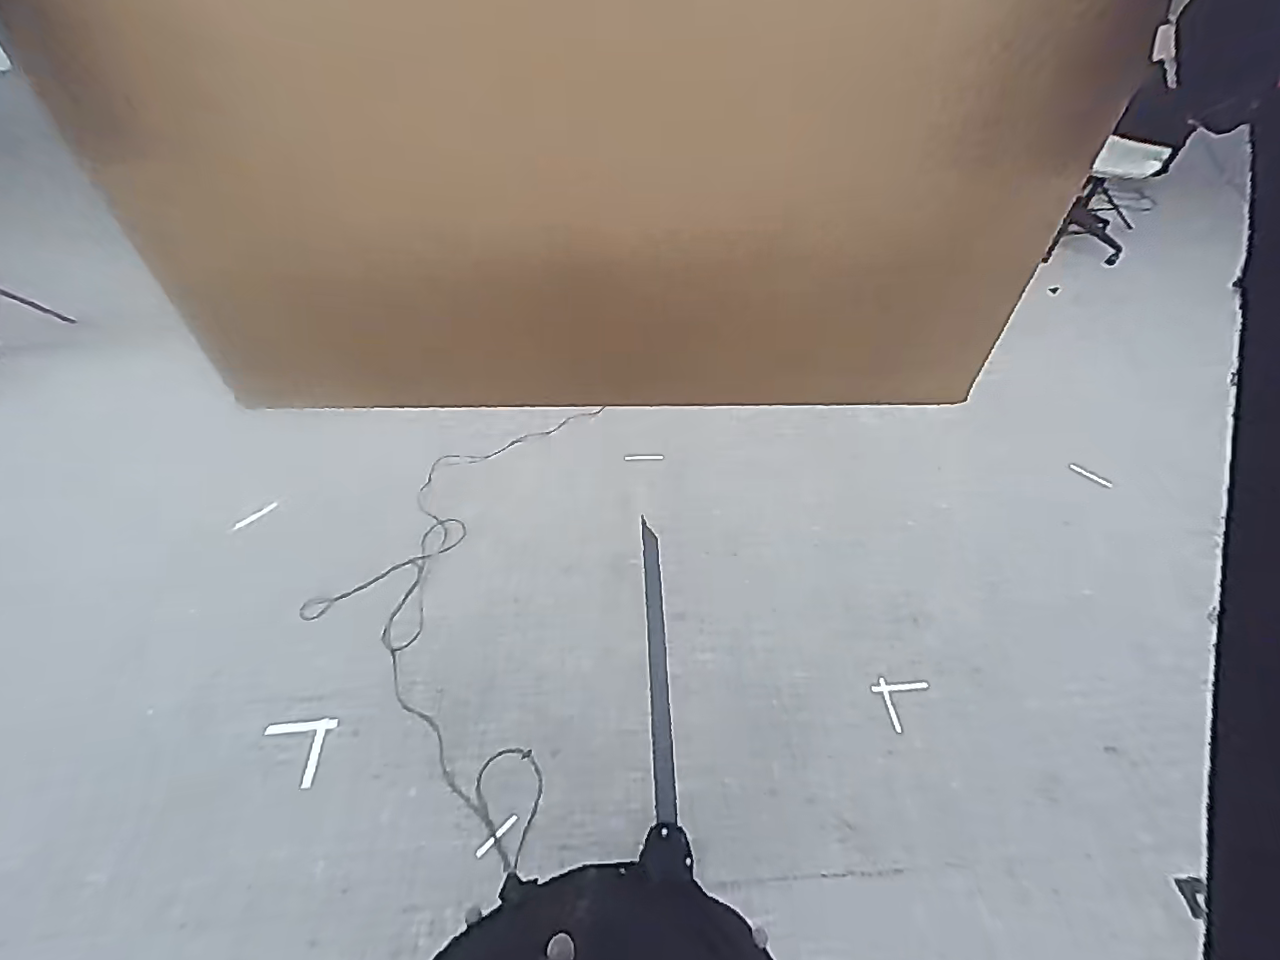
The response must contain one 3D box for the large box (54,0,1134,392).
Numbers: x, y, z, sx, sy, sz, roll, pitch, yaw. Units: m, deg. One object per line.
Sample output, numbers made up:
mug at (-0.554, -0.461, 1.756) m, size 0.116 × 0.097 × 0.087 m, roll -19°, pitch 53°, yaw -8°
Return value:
large box at (-0.017, -0.263, 0.315) m, size 0.408 × 0.320 × 0.320 m, roll 0°, pitch 46°, yaw -2°
